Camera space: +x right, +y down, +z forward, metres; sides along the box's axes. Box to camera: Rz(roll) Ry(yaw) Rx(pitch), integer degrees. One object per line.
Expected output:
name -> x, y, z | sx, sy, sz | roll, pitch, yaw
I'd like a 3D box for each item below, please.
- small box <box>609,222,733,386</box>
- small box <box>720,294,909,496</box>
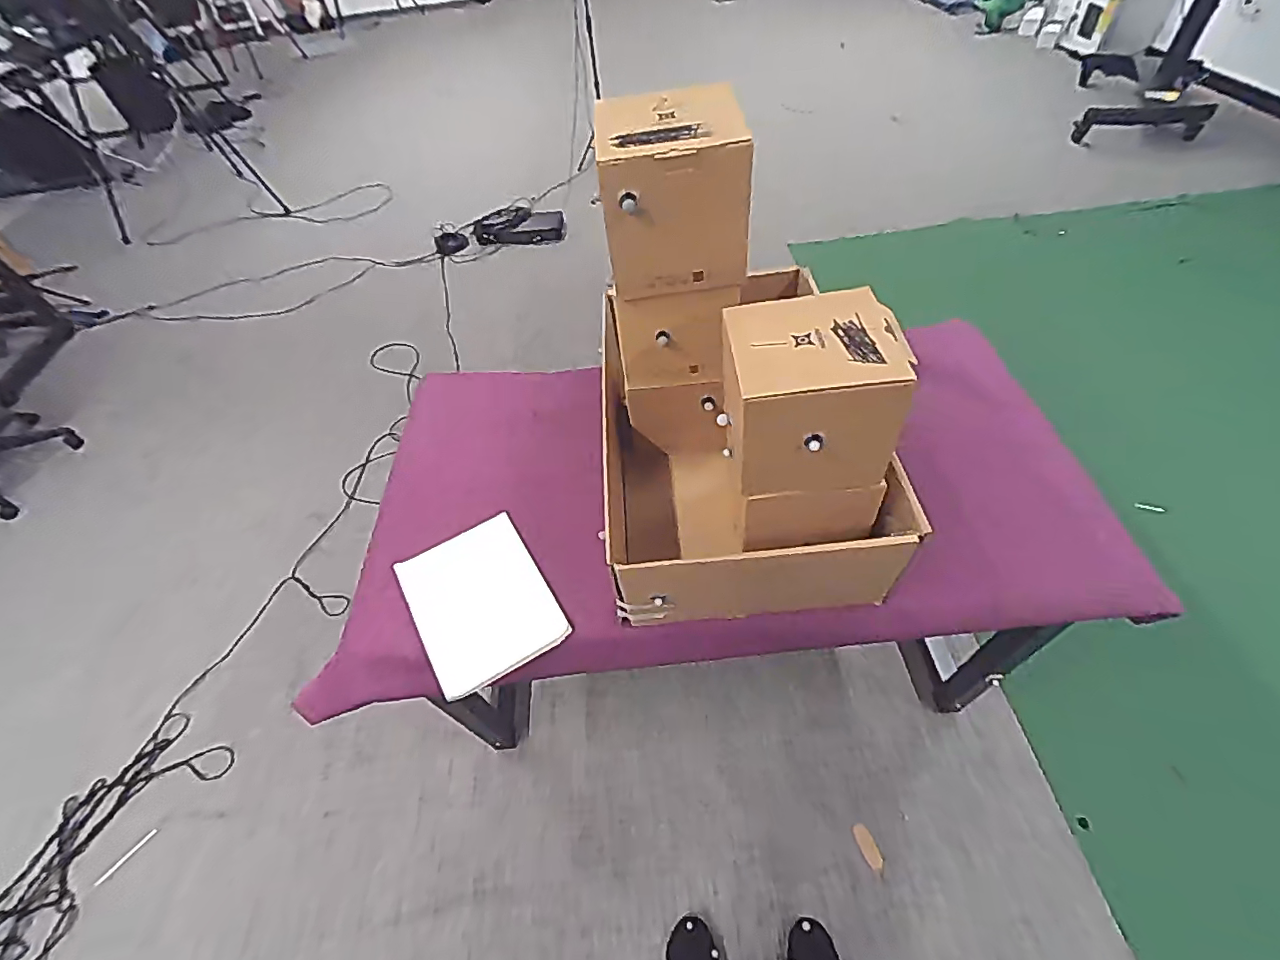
small box -> 0.047, -0.255, 0.811 | 0.168, 0.176, 0.179 | -5, 52, 3
small box -> 0.193, -0.098, 0.656 | 0.179, 0.176, 0.168 | -6, 49, 5
